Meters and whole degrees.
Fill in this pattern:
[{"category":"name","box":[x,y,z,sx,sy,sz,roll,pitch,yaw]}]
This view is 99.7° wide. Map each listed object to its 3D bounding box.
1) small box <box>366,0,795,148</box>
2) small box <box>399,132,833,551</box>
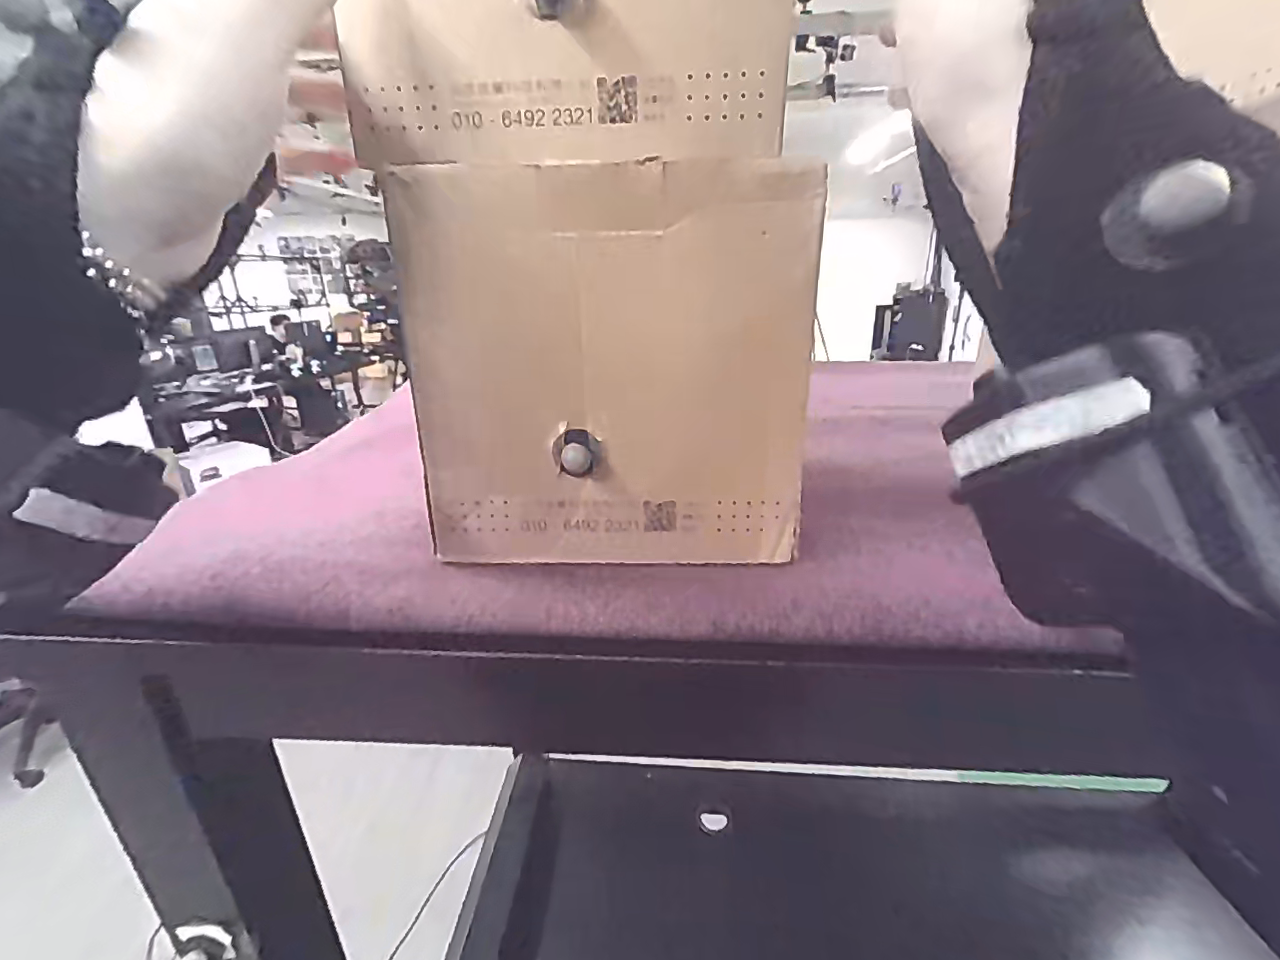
[{"category":"small box","box":[-0.020,-0.234,0.259,0.168,0.176,0.179,1,20,5]},{"category":"small box","box":[-0.009,-0.074,0.302,0.168,0.176,0.179,0,20,1]}]
